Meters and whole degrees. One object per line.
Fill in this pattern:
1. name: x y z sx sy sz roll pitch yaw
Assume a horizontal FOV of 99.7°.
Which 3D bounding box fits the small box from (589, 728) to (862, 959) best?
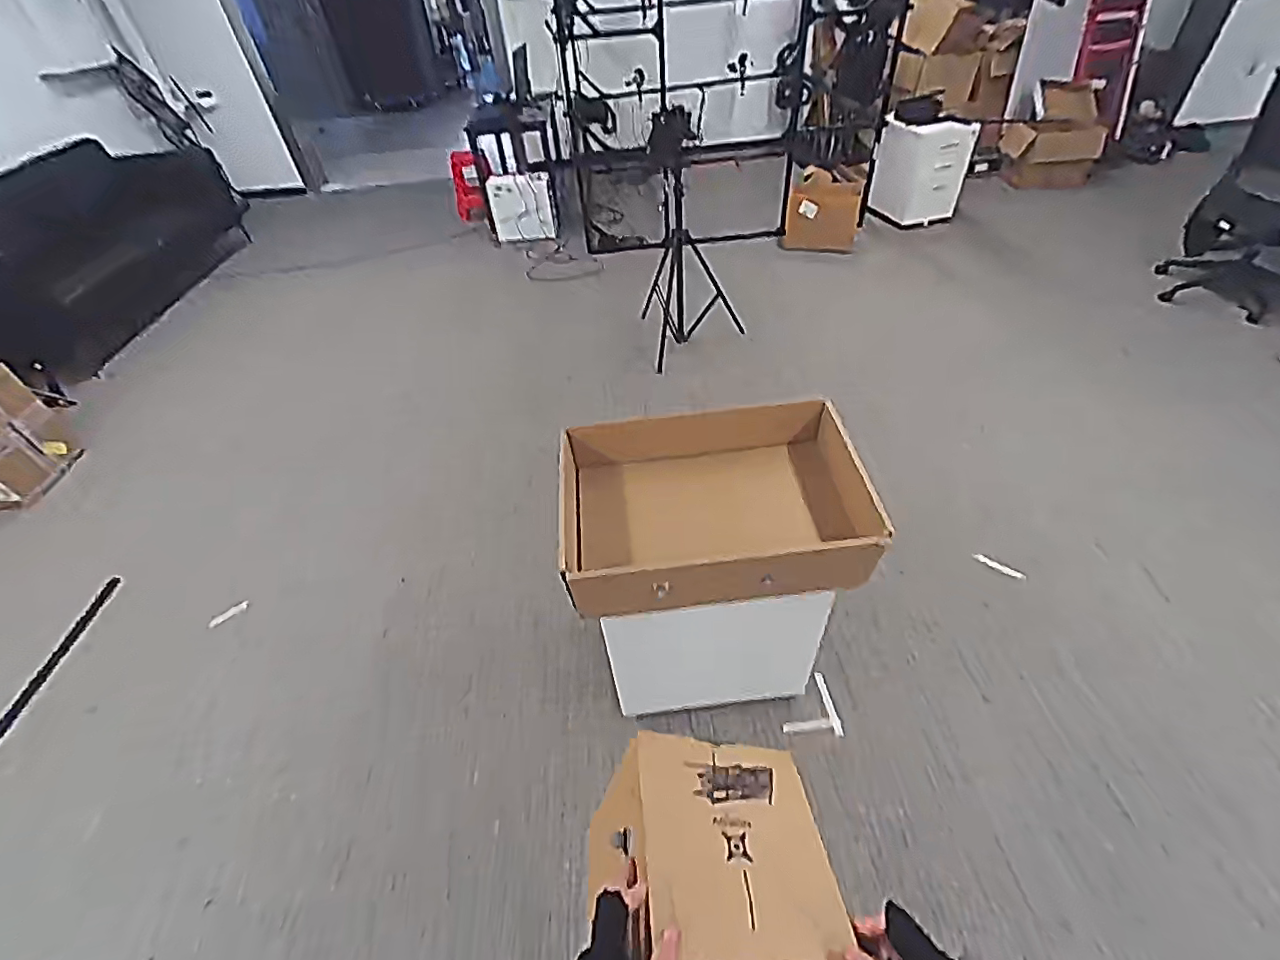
1. small box: 0.054 0.361 0.482 0.168 0.176 0.179 14 26 -12
